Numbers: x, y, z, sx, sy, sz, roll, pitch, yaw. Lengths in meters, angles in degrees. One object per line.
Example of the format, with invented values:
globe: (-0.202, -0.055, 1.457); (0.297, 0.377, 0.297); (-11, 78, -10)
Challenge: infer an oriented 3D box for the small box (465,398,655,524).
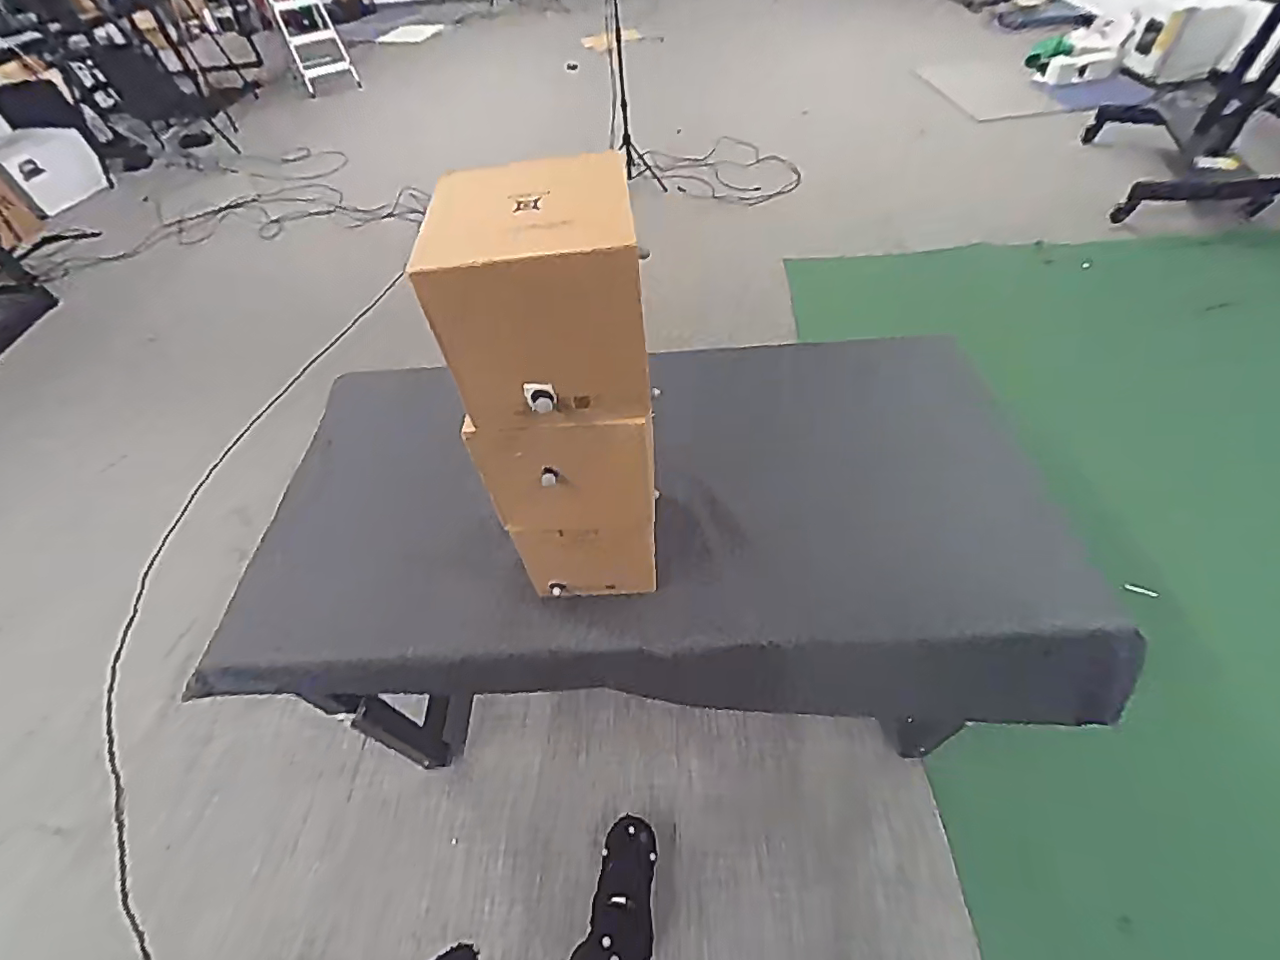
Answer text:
small box: (-0.079, -0.063, 0.624); (0.179, 0.176, 0.168); (-5, 48, 1)

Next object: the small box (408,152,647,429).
small box: (-0.087, -0.171, 0.500); (0.168, 0.176, 0.179); (-8, 51, 1)

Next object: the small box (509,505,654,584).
small box: (-0.069, 0.034, 0.752); (0.168, 0.176, 0.179); (-3, 49, 3)
